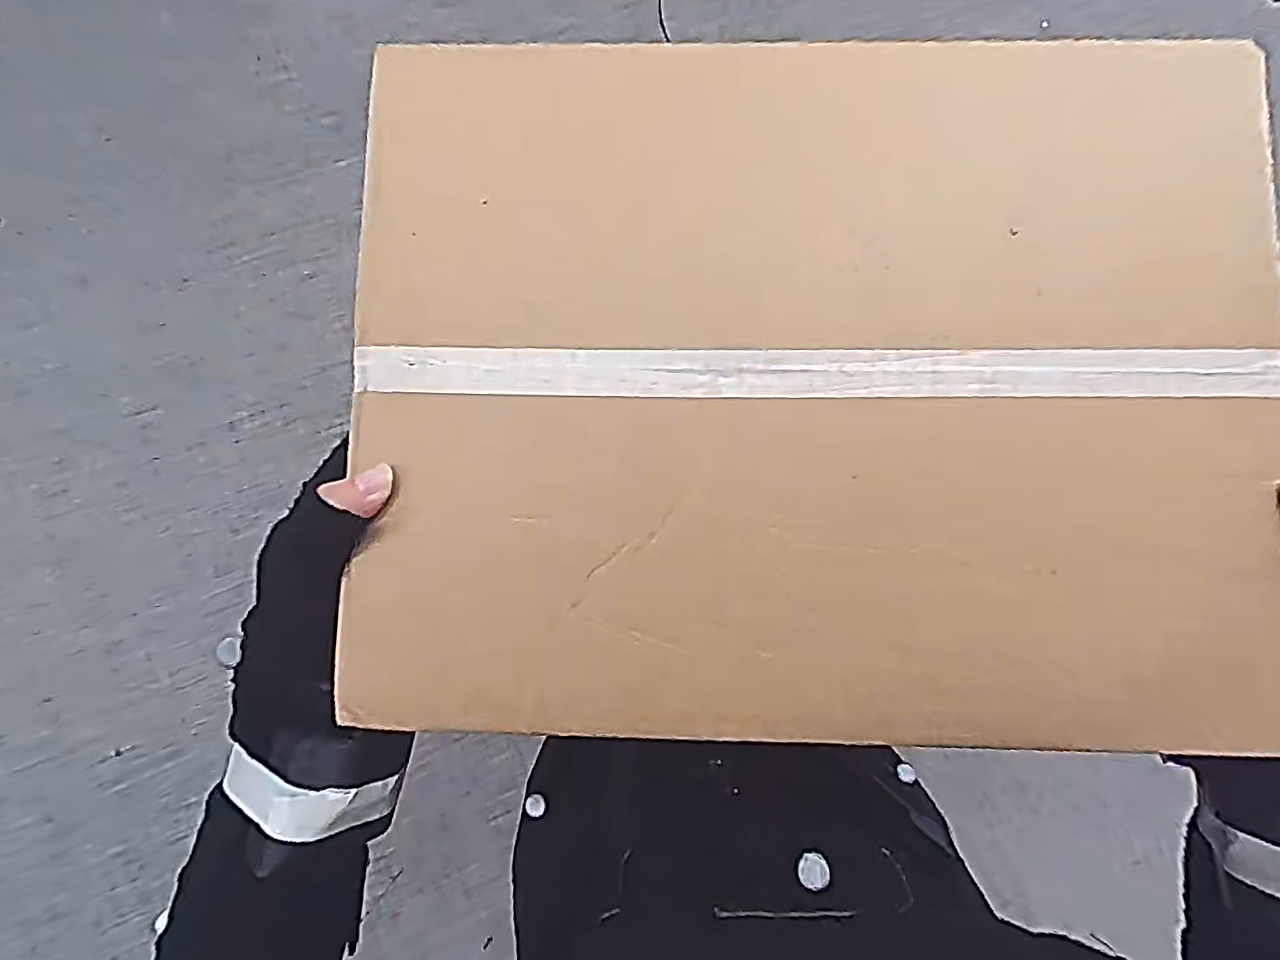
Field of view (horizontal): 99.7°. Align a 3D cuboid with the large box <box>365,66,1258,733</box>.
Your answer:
[{"bbox_3d":[0.078,-0.032,0.399,0.408,0.320,0.320,0,85,2],"label":"large box"}]
